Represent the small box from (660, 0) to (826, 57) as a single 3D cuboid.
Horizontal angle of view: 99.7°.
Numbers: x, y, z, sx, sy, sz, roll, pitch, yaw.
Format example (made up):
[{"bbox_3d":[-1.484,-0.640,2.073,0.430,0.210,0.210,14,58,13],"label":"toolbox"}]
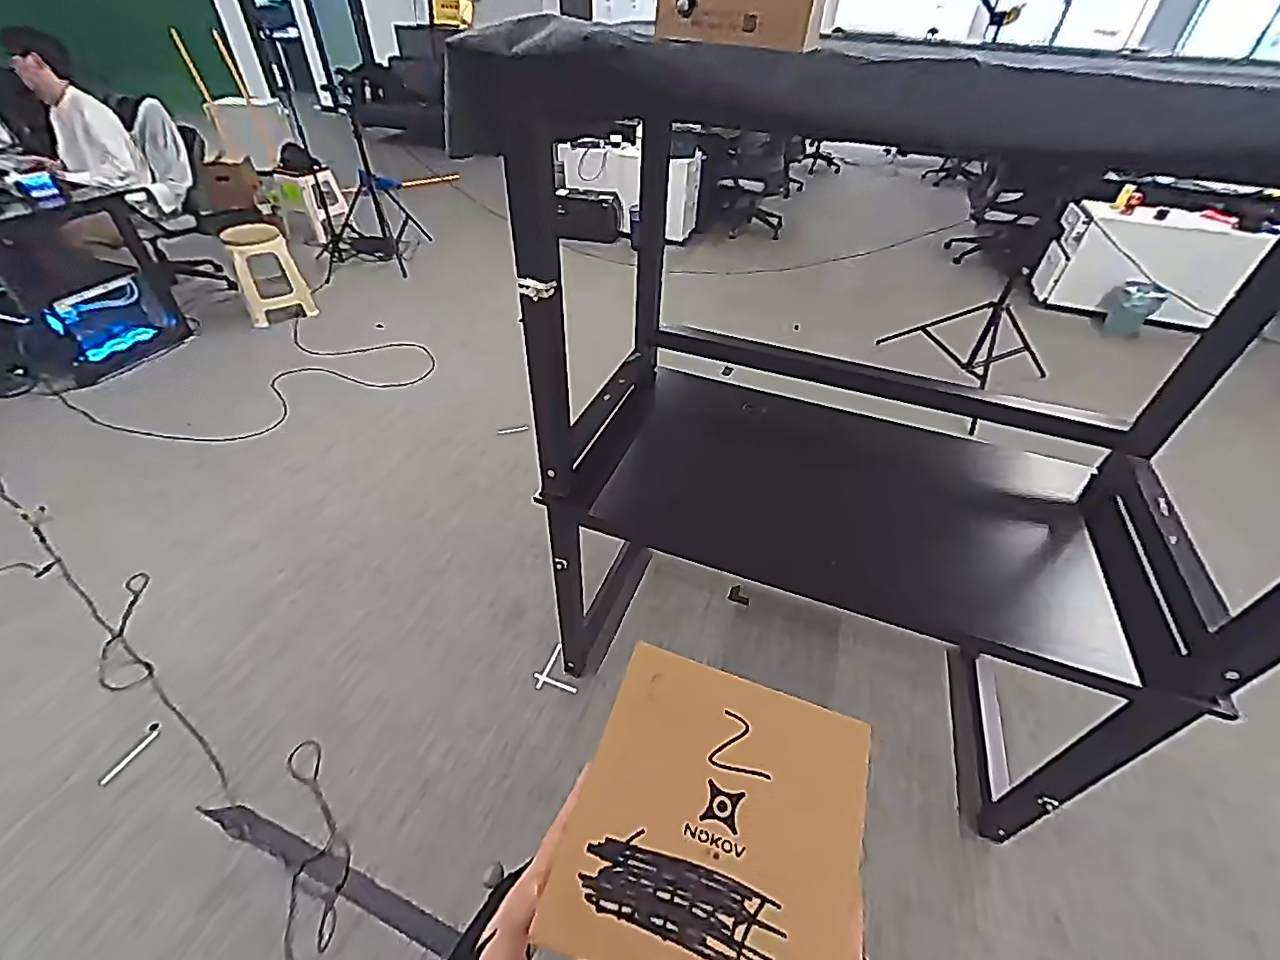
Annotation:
[{"bbox_3d":[0.124,-0.575,0.591,0.168,0.176,0.179,15,41,11],"label":"small box"}]
